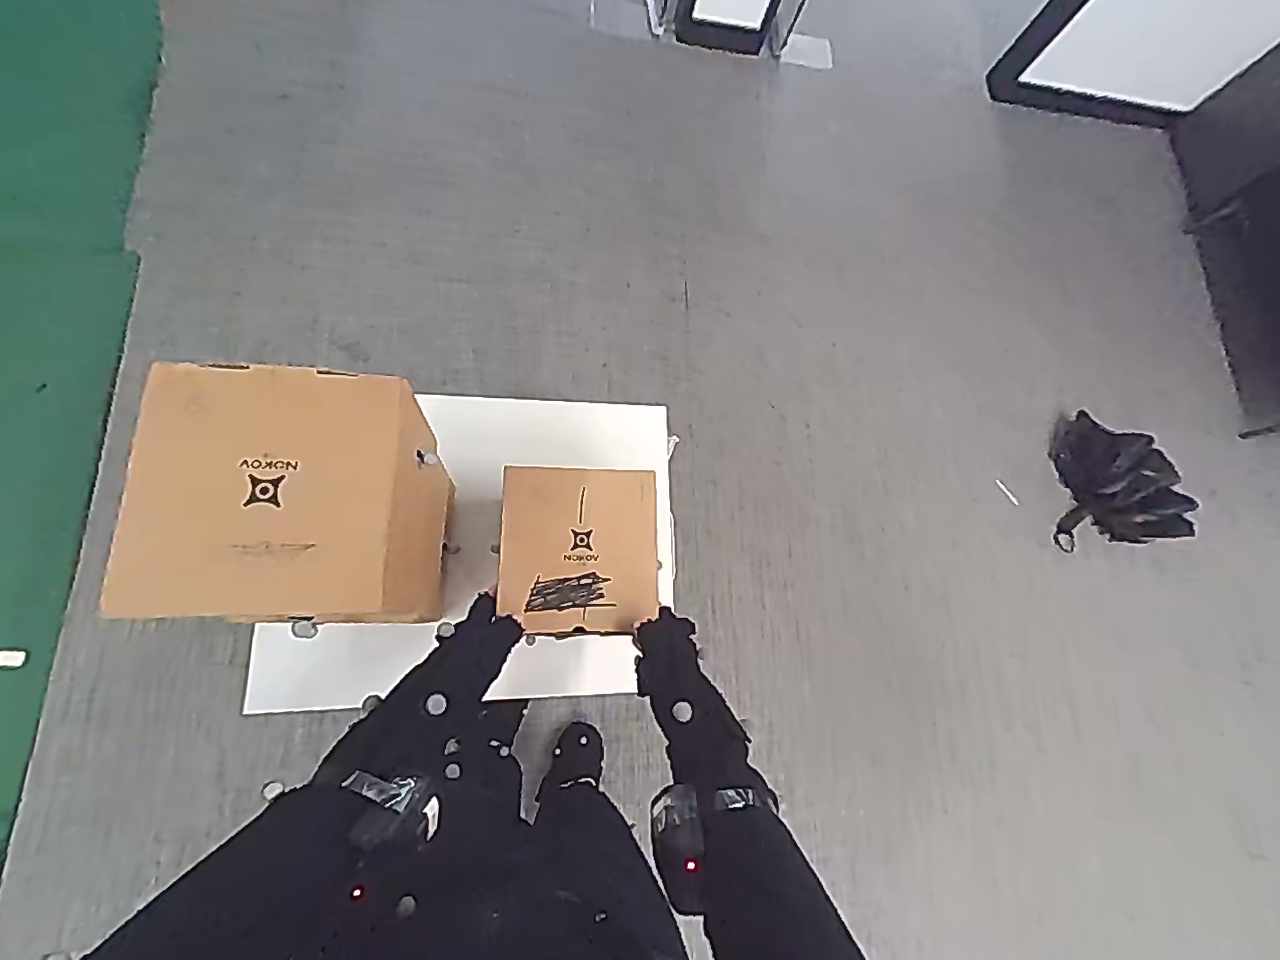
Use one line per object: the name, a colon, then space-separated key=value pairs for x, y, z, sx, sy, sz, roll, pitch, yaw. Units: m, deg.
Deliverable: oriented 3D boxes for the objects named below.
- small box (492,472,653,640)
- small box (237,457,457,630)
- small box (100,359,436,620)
small box: x=-0.079 y=0.098 z=0.647 sx=0.168 sy=0.176 sz=0.179 roll=2 pitch=74 yaw=-10
small box: x=-0.308 y=0.075 z=0.609 sx=0.168 sy=0.176 sz=0.179 roll=3 pitch=73 yaw=-10
small box: x=-0.269 y=0.022 z=0.443 sx=0.168 sy=0.176 sz=0.179 roll=1 pitch=76 yaw=-11
